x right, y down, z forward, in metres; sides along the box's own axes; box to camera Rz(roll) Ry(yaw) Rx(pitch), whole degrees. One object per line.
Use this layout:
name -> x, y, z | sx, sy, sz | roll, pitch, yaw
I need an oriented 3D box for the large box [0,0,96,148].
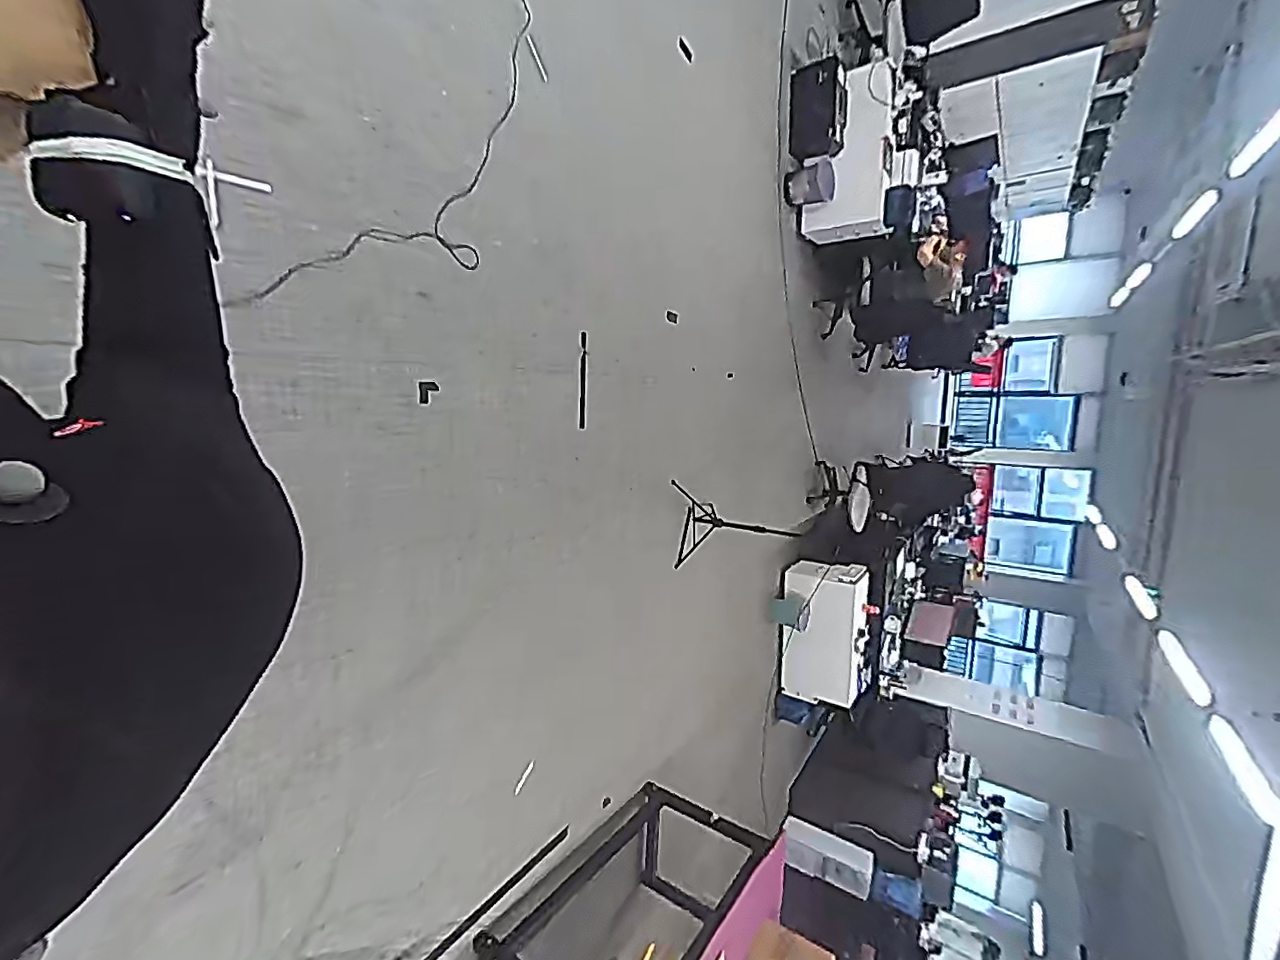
large box -> -0.586, -0.398, 0.245 | 0.408, 0.320, 0.320 | -14, 116, -56
